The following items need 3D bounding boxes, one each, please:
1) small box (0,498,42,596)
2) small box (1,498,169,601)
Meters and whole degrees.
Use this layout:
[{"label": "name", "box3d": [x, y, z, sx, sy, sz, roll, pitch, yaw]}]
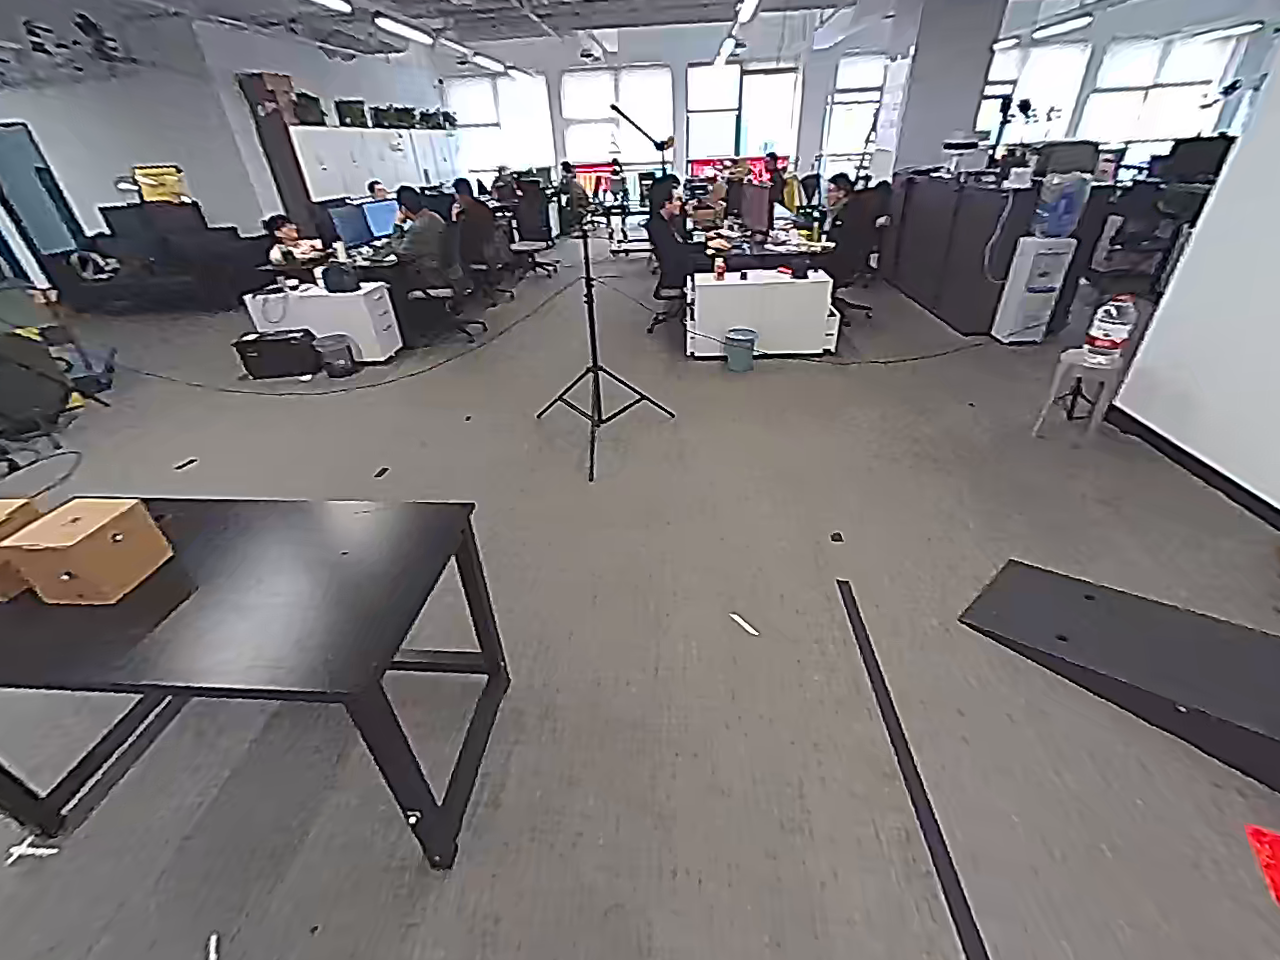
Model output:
[{"label": "small box", "box3d": [-1.496, 0.156, 1.235, 0.179, 0.176, 0.168, 0, 32, 3]}, {"label": "small box", "box3d": [-1.234, 0.157, 1.223, 0.168, 0.176, 0.179, 1, 31, 4]}]
